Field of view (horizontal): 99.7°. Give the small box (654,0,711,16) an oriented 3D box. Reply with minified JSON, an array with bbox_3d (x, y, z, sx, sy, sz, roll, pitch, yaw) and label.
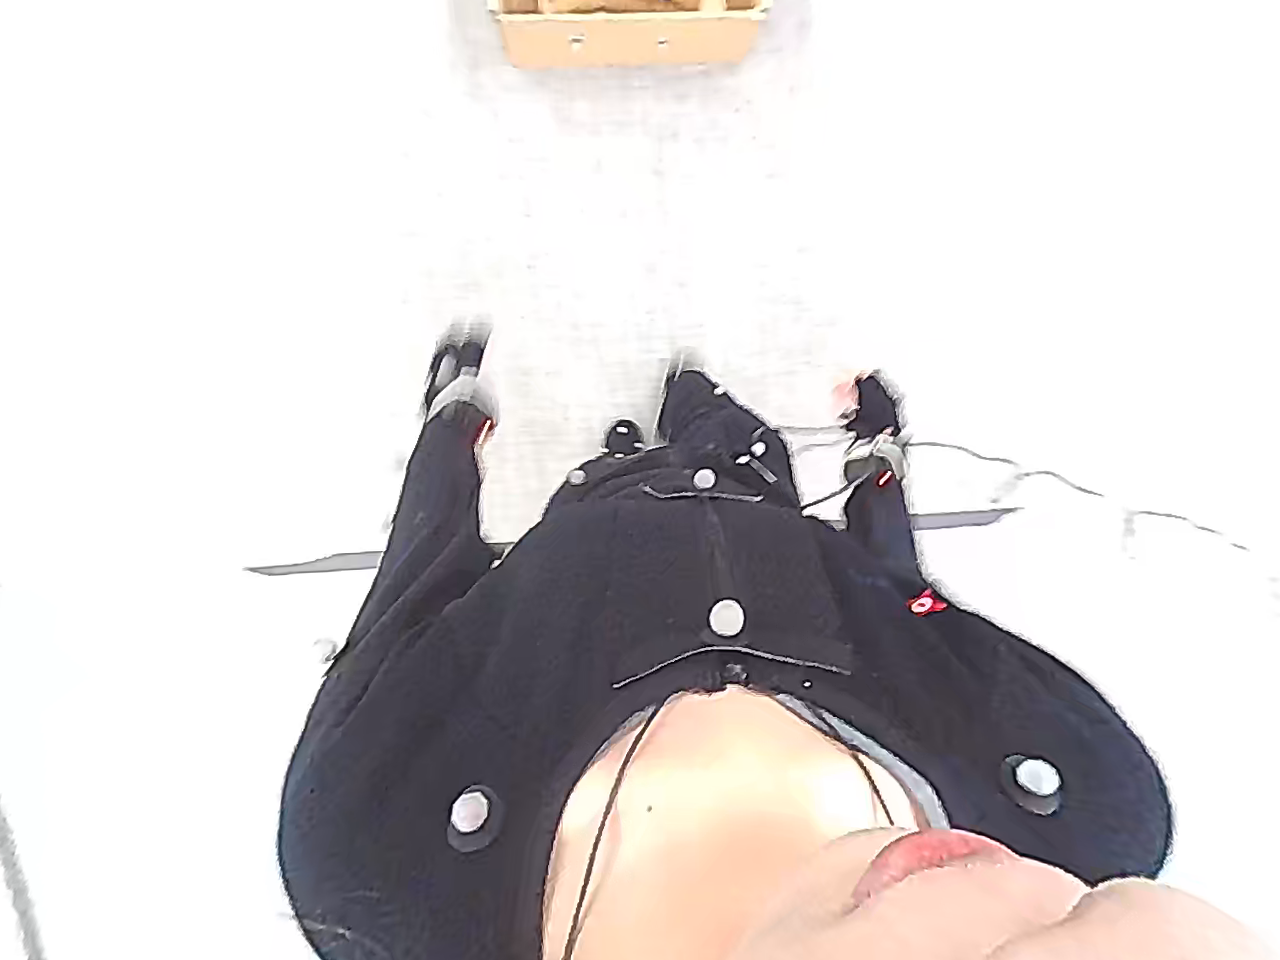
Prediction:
[{"bbox_3d":[0.107,-1.218,1.219,0.168,0.176,0.179,15,98,-3],"label":"small box"}]
